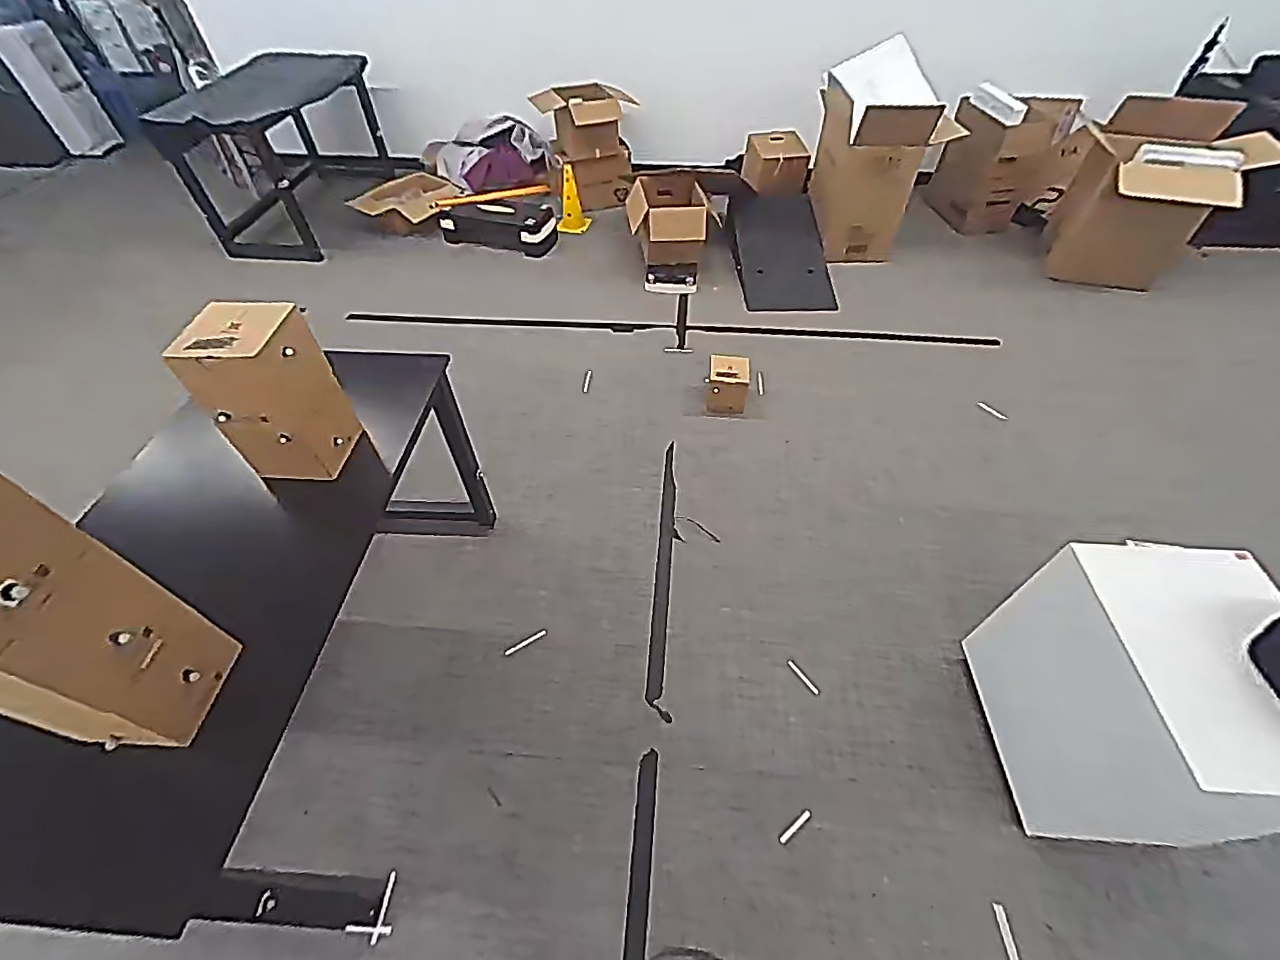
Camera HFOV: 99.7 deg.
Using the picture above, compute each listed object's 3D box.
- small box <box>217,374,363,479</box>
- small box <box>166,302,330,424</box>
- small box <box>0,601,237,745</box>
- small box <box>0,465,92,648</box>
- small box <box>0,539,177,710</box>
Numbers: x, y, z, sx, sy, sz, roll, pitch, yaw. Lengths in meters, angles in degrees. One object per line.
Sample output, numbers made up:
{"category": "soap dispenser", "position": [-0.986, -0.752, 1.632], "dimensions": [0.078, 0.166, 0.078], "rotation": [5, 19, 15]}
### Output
{"category": "small box", "position": [-0.741, -0.116, 1.169], "dimensions": [0.179, 0.176, 0.168], "rotation": [3, 50, 2]}
{"category": "small box", "position": [-0.735, -0.223, 1.043], "dimensions": [0.168, 0.176, 0.179], "rotation": [0, 49, 0]}
{"category": "small box", "position": [-0.772, 0.292, 0.822], "dimensions": [0.179, 0.176, 0.168], "rotation": [2, 49, 1]}
{"category": "small box", "position": [-0.774, 0.079, 0.573], "dimensions": [0.179, 0.176, 0.168], "rotation": [2, 51, 2]}
{"category": "small box", "position": [-0.774, 0.185, 0.696], "dimensions": [0.179, 0.176, 0.168], "rotation": [2, 50, 2]}
